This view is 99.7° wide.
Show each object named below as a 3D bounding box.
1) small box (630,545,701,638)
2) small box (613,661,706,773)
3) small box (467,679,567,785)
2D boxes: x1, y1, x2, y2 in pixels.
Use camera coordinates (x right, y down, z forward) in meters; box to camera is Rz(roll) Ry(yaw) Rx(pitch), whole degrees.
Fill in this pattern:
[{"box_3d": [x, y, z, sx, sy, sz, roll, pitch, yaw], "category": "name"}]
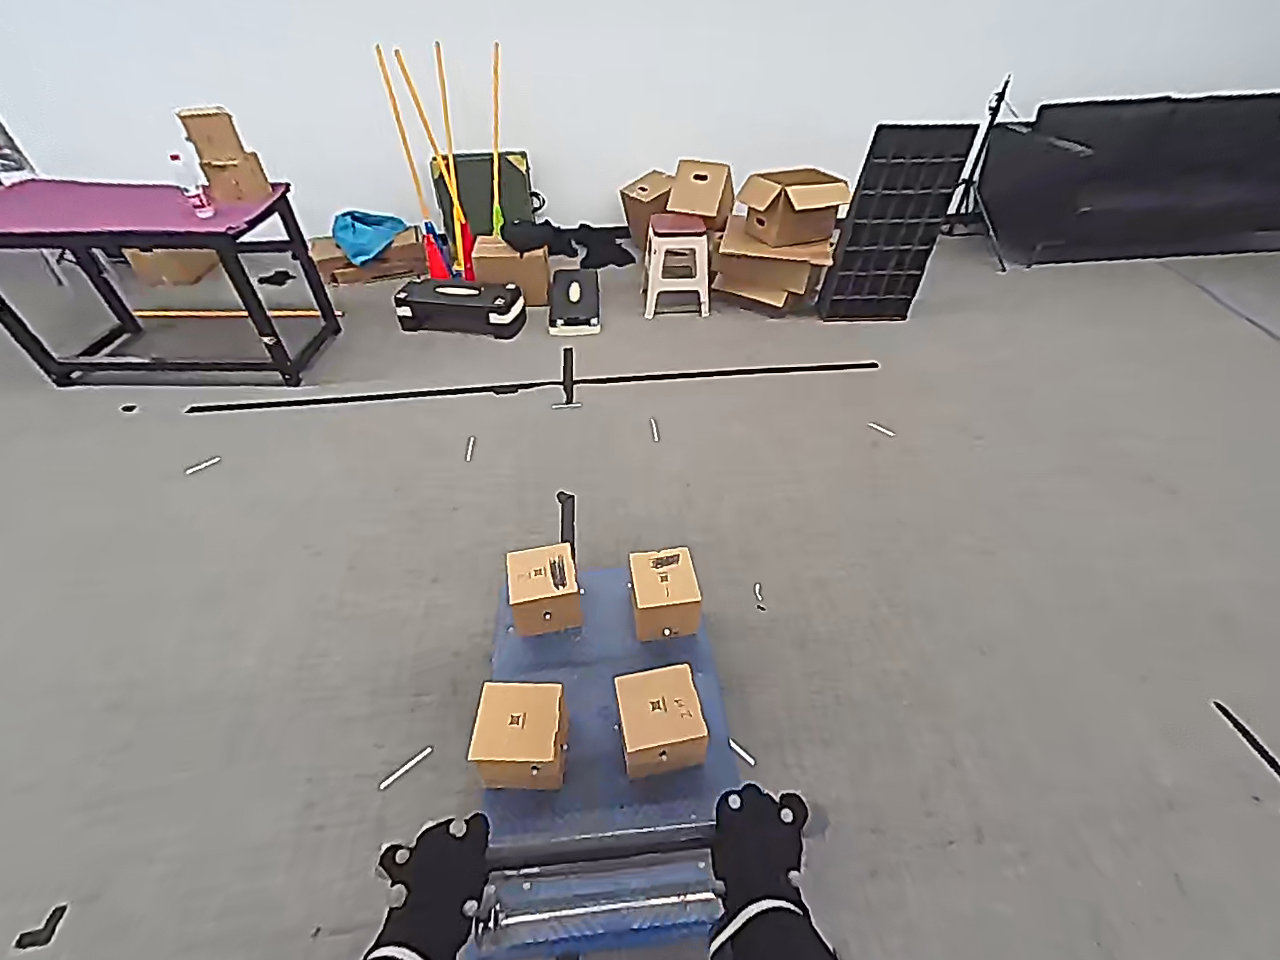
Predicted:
[{"box_3d": [0.061, 0.302, 1.464, 0.168, 0.176, 0.179, -6, 45, -6], "category": "small box"}, {"box_3d": [0.040, 0.538, 1.221, 0.179, 0.176, 0.168, -8, 45, -8], "category": "small box"}, {"box_3d": [-0.263, 0.560, 1.198, 0.179, 0.176, 0.168, 2, 44, -1], "category": "small box"}]
